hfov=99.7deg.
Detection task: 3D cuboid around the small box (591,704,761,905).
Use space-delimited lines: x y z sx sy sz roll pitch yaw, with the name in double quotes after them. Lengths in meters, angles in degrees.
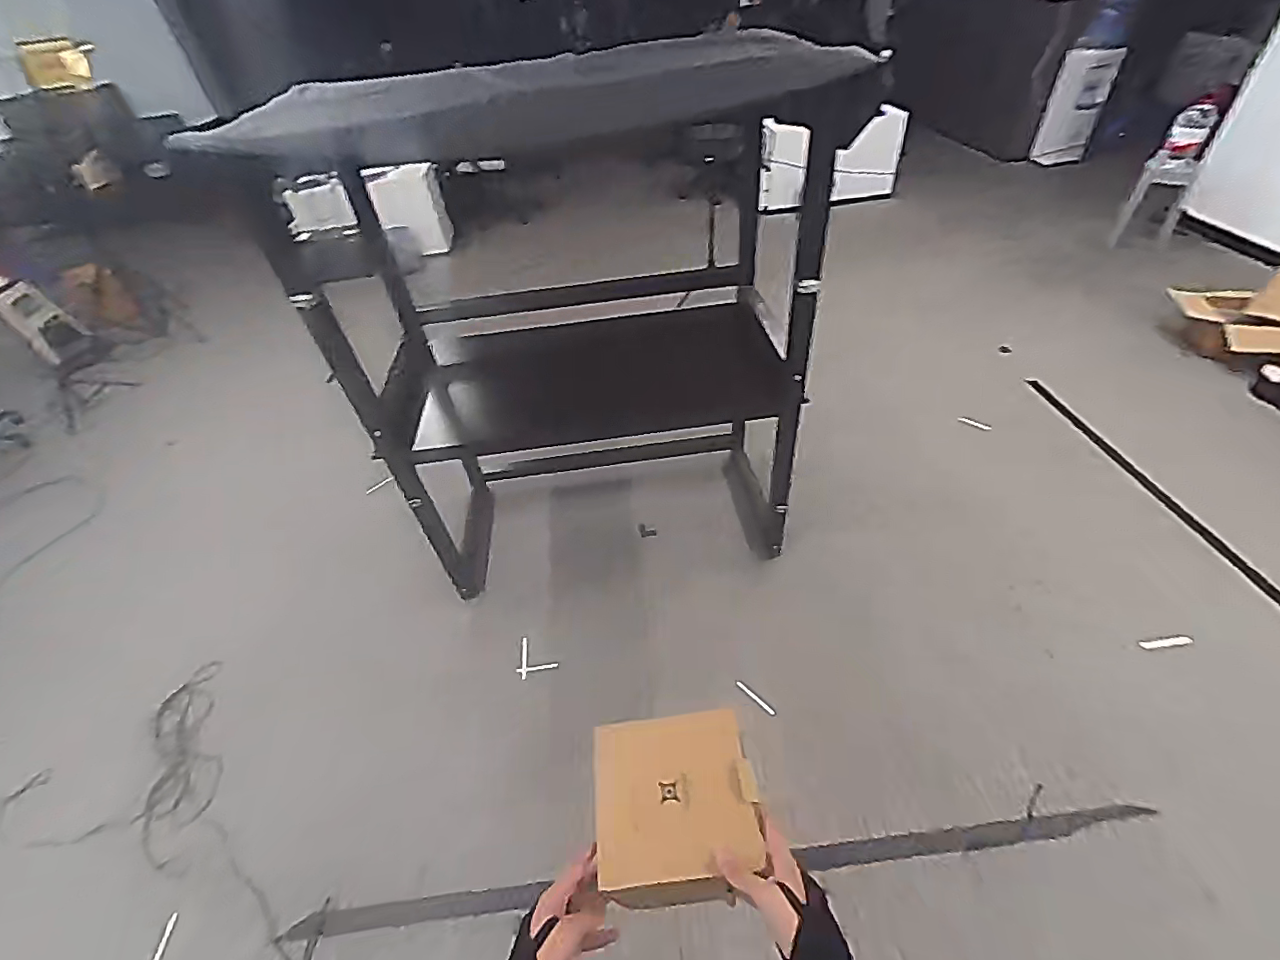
0.042 0.398 0.662 0.179 0.176 0.168 -10 44 2 "small box"
